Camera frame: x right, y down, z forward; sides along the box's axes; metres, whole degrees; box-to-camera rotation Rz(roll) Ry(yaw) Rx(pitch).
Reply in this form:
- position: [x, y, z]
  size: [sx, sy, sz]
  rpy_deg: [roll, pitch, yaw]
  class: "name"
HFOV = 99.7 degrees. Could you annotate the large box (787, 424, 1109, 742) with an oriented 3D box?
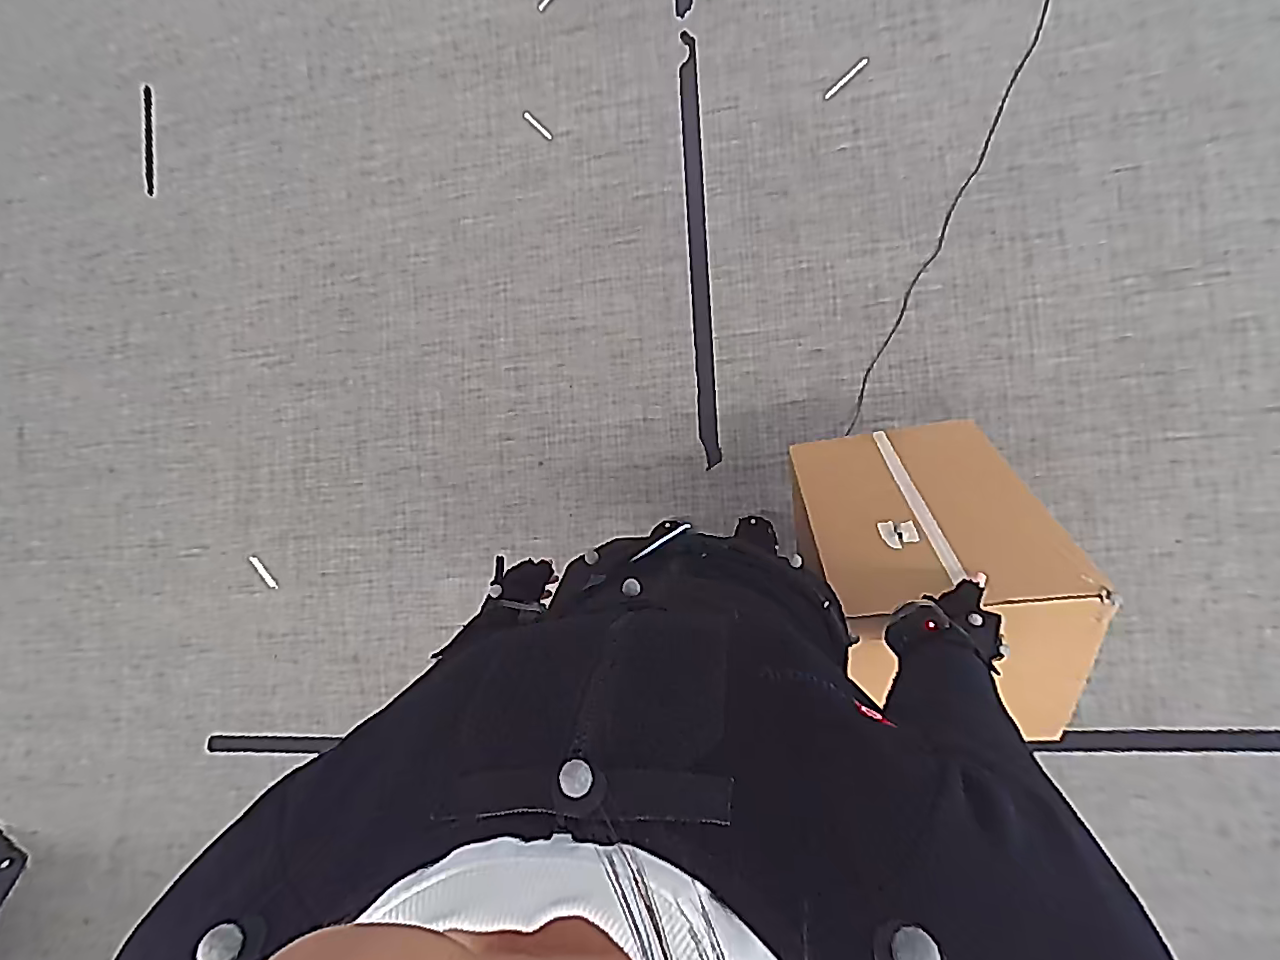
- position: [0.439, 0.158, 0.892]
  size: [0.320, 0.408, 0.320]
  rpy_deg: [-9, 126, 12]
  class: "large box"
